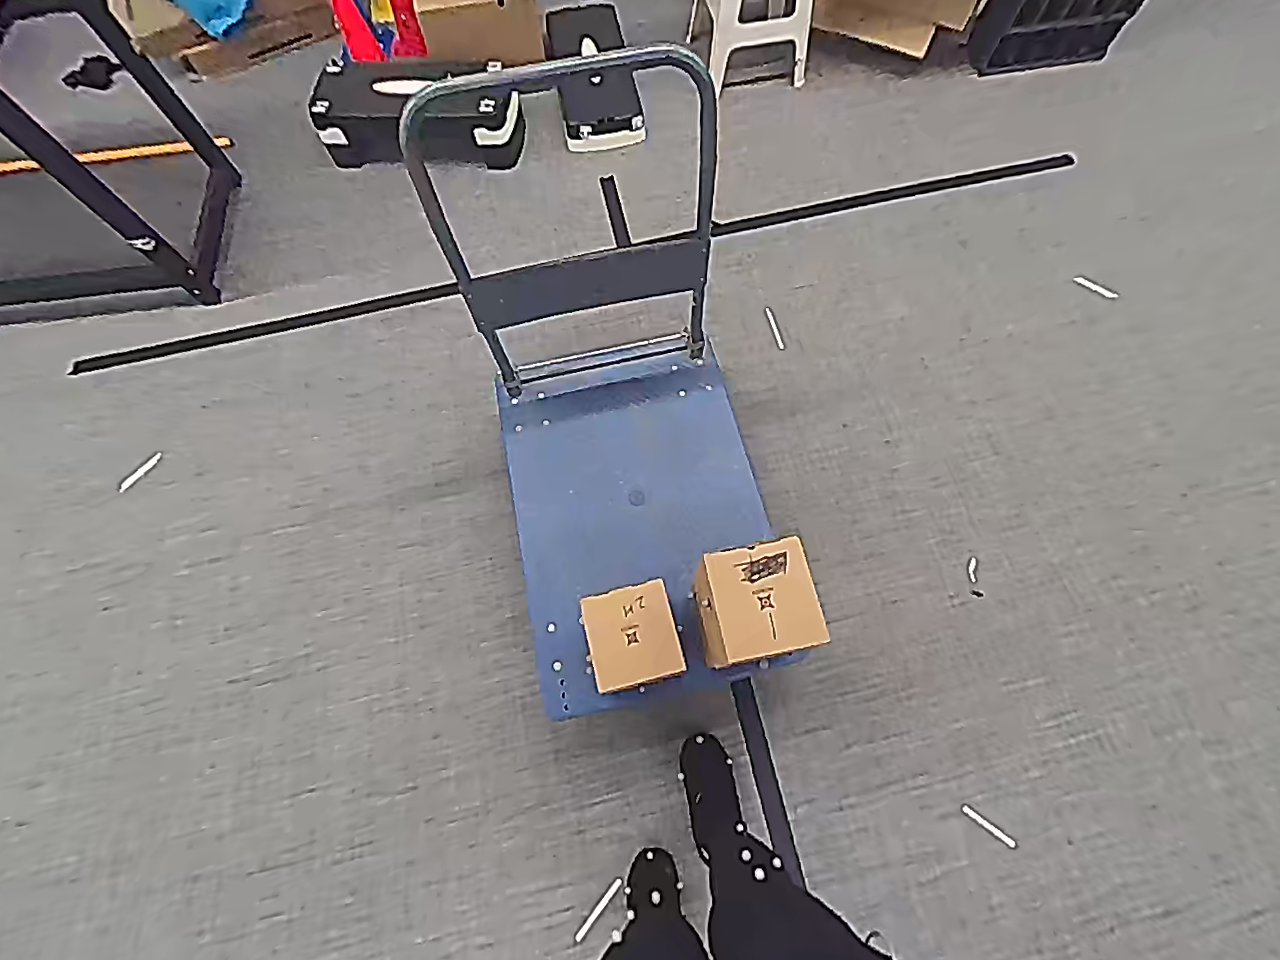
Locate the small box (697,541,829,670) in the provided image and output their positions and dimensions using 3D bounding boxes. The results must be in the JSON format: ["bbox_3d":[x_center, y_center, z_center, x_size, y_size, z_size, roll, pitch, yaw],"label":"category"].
[{"bbox_3d":[0.200,0.222,0.937,0.168,0.176,0.179,-11,69,-3],"label":"small box"}]

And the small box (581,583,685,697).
[{"bbox_3d":[-0.013,0.323,1.078,0.168,0.176,0.179,-13,68,-5],"label":"small box"}]
